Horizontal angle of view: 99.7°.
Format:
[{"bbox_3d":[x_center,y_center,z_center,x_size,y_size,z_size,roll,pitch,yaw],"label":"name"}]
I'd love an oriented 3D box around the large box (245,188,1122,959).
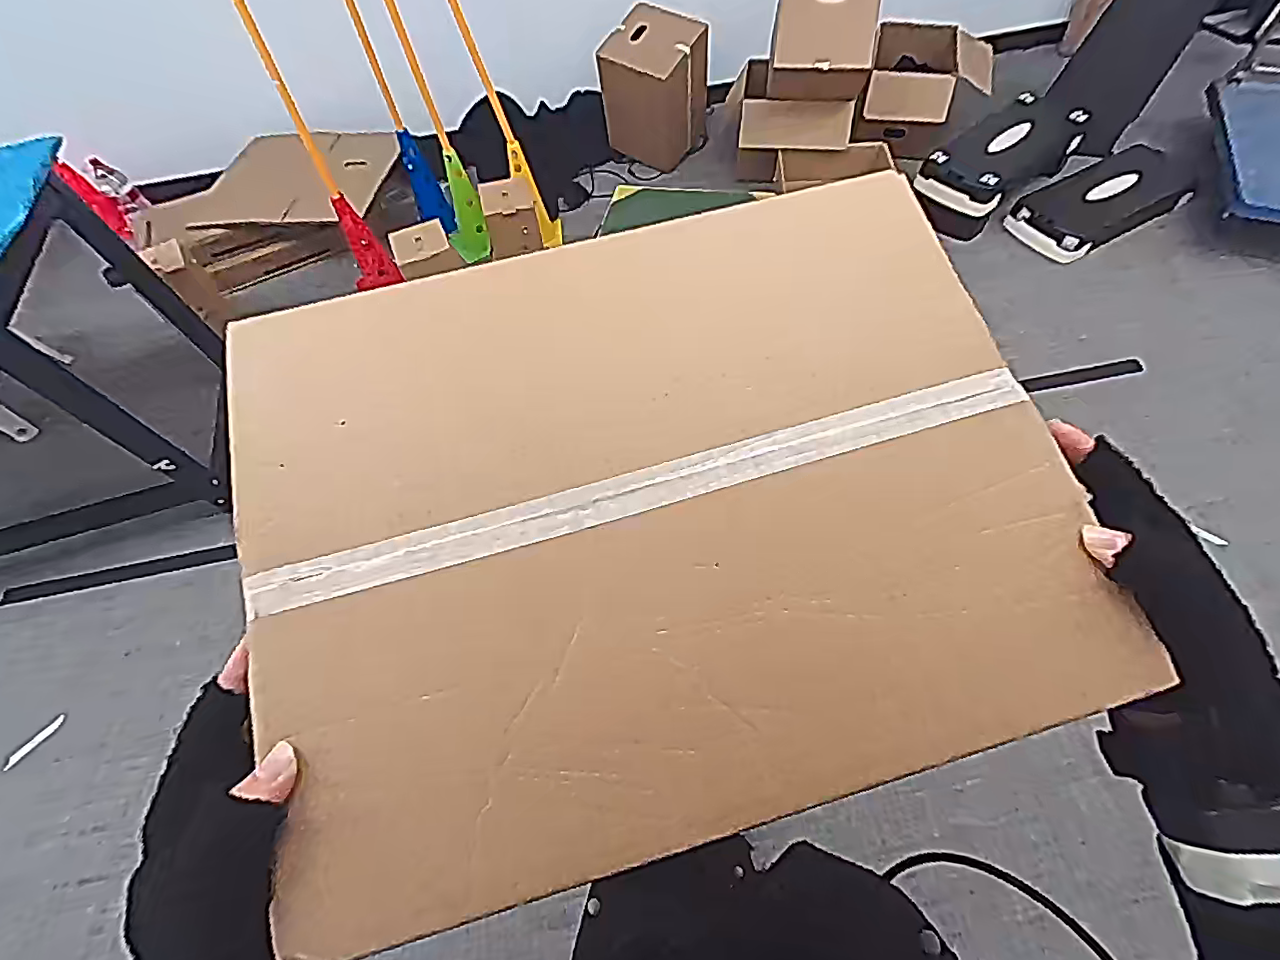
[{"bbox_3d":[0.007,0.050,0.428,0.408,0.320,0.320,-16,73,-4],"label":"large box"}]
